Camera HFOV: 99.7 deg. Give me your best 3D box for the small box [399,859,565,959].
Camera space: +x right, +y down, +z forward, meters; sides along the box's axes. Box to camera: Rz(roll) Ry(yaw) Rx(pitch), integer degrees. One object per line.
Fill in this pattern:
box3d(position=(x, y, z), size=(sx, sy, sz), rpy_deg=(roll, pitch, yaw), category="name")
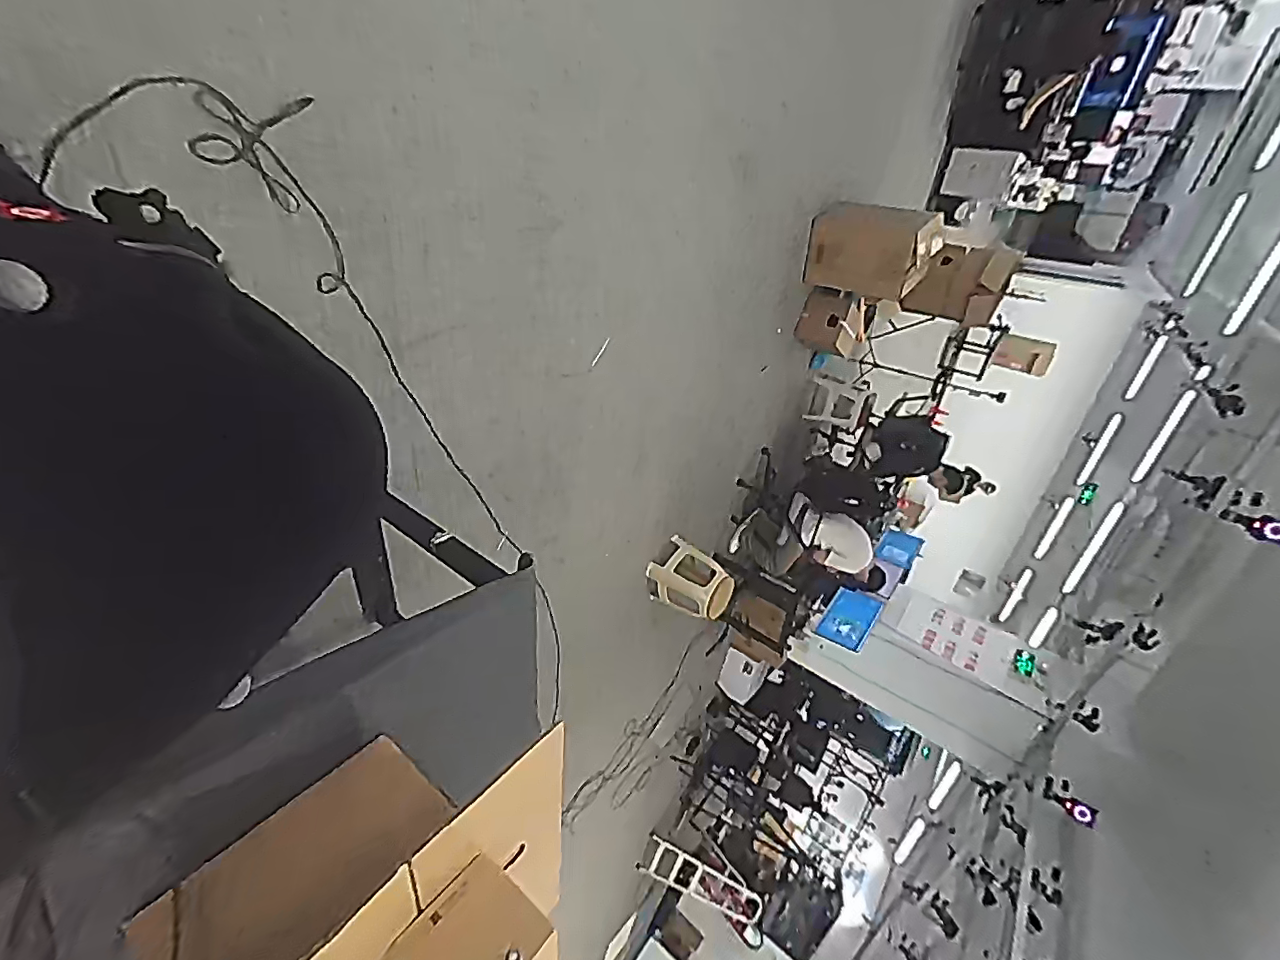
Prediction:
box3d(position=(-0.230, 0.717, 0.800), size=(0.168, 0.176, 0.179), rpy_deg=(-30, 134, -46), category="small box")
